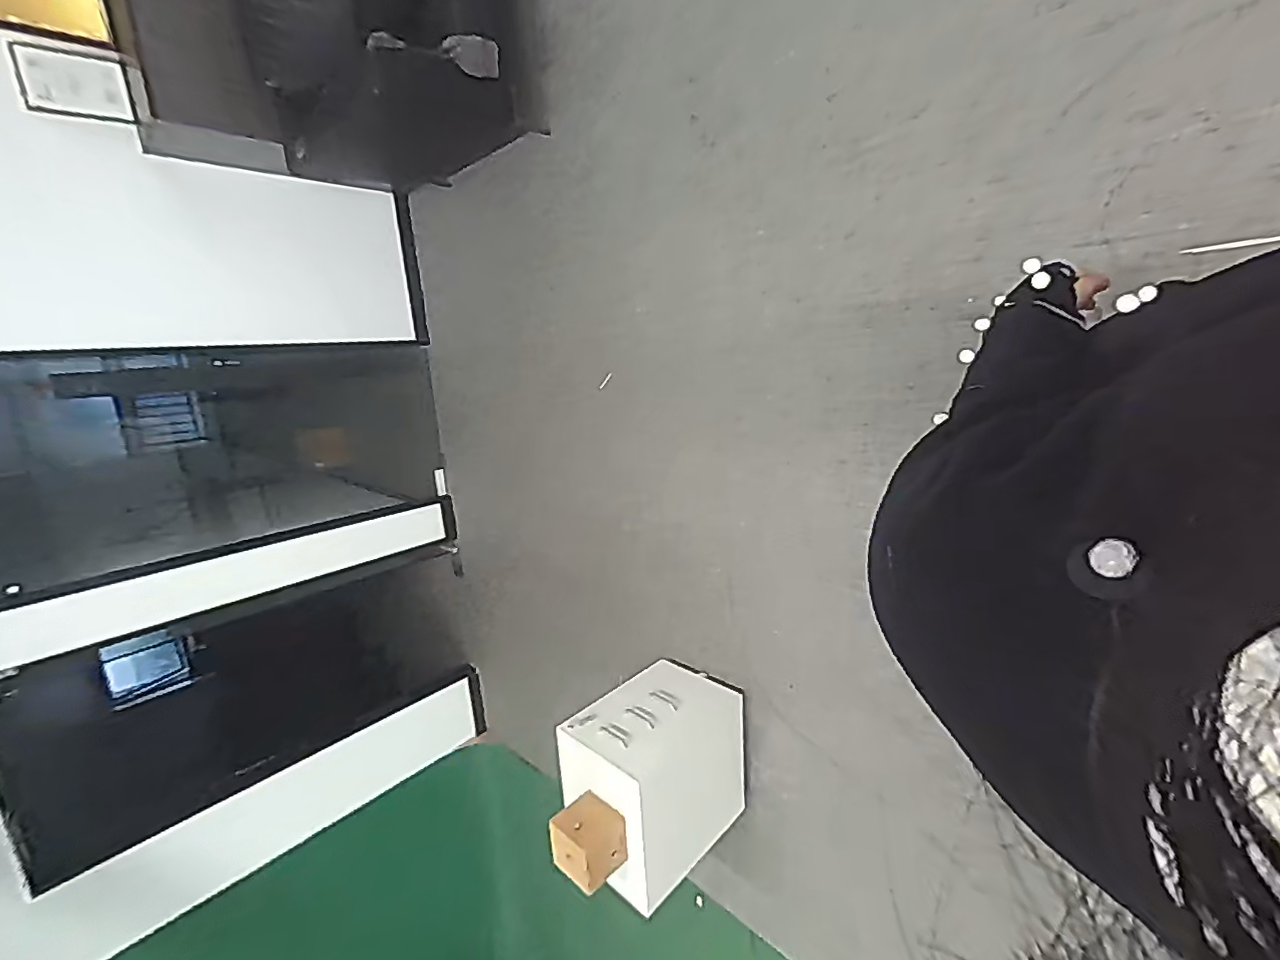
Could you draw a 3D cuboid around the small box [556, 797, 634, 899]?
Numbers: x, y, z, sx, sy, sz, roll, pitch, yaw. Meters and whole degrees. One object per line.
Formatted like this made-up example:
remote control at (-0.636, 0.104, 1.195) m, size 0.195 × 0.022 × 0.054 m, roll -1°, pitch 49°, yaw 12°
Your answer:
small box at (-0.138, 1.131, 1.684) m, size 0.179 × 0.176 × 0.168 m, roll 8°, pitch 107°, yaw 44°
